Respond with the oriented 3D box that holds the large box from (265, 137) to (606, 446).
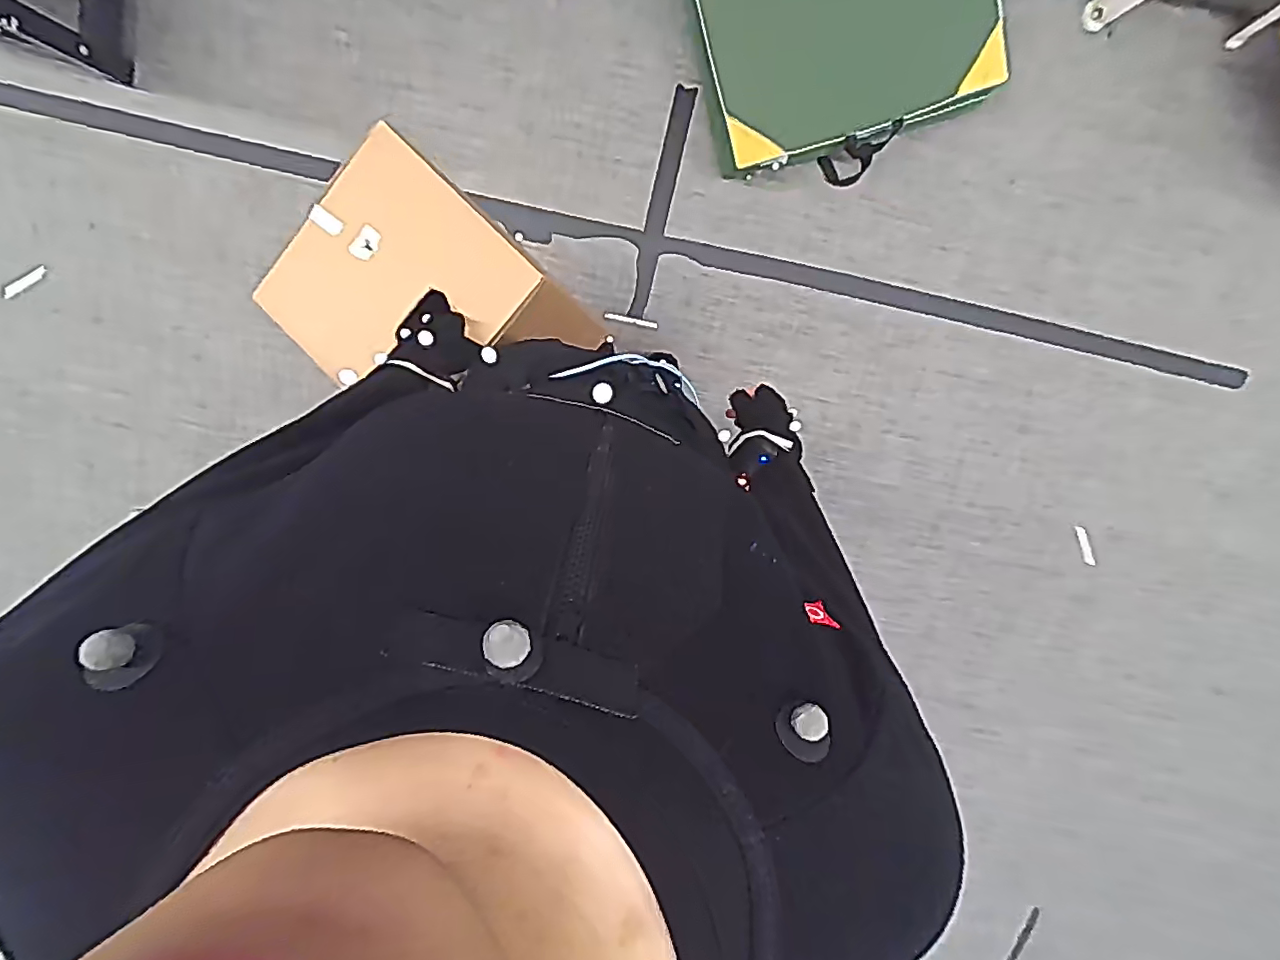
[{"bbox_3d":[-0.312,-0.282,0.940,0.320,0.408,0.320,46,101,2],"label":"large box"}]
